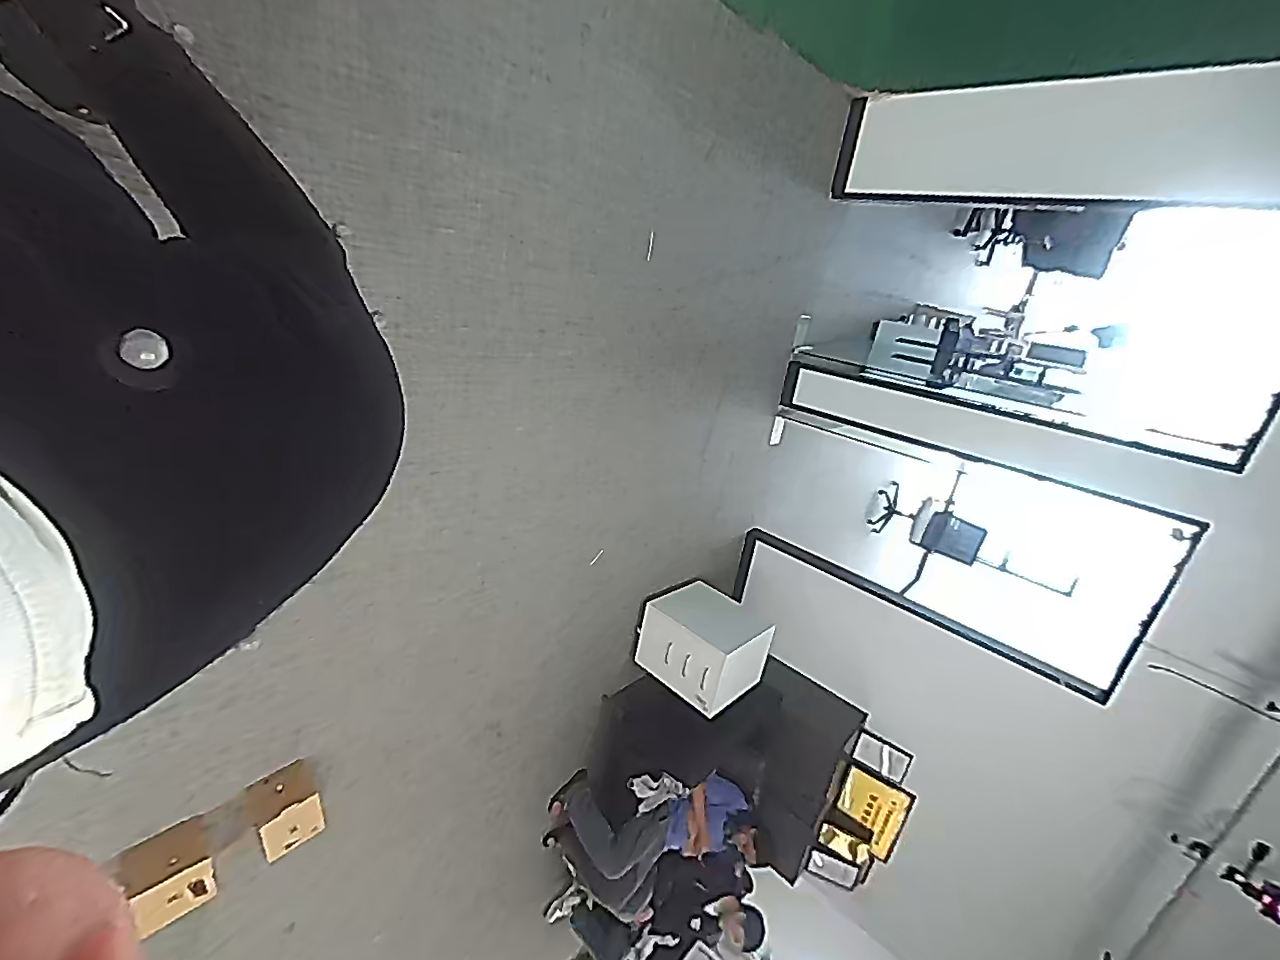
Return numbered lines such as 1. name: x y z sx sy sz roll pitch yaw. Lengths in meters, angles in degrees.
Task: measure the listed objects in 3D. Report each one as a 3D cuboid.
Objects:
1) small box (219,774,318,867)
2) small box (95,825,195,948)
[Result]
1. small box: -1.177 1.071 1.710 0.179 0.176 0.168 -47 143 -25
2. small box: -1.370 1.114 1.500 0.179 0.176 0.168 -10 116 -50
